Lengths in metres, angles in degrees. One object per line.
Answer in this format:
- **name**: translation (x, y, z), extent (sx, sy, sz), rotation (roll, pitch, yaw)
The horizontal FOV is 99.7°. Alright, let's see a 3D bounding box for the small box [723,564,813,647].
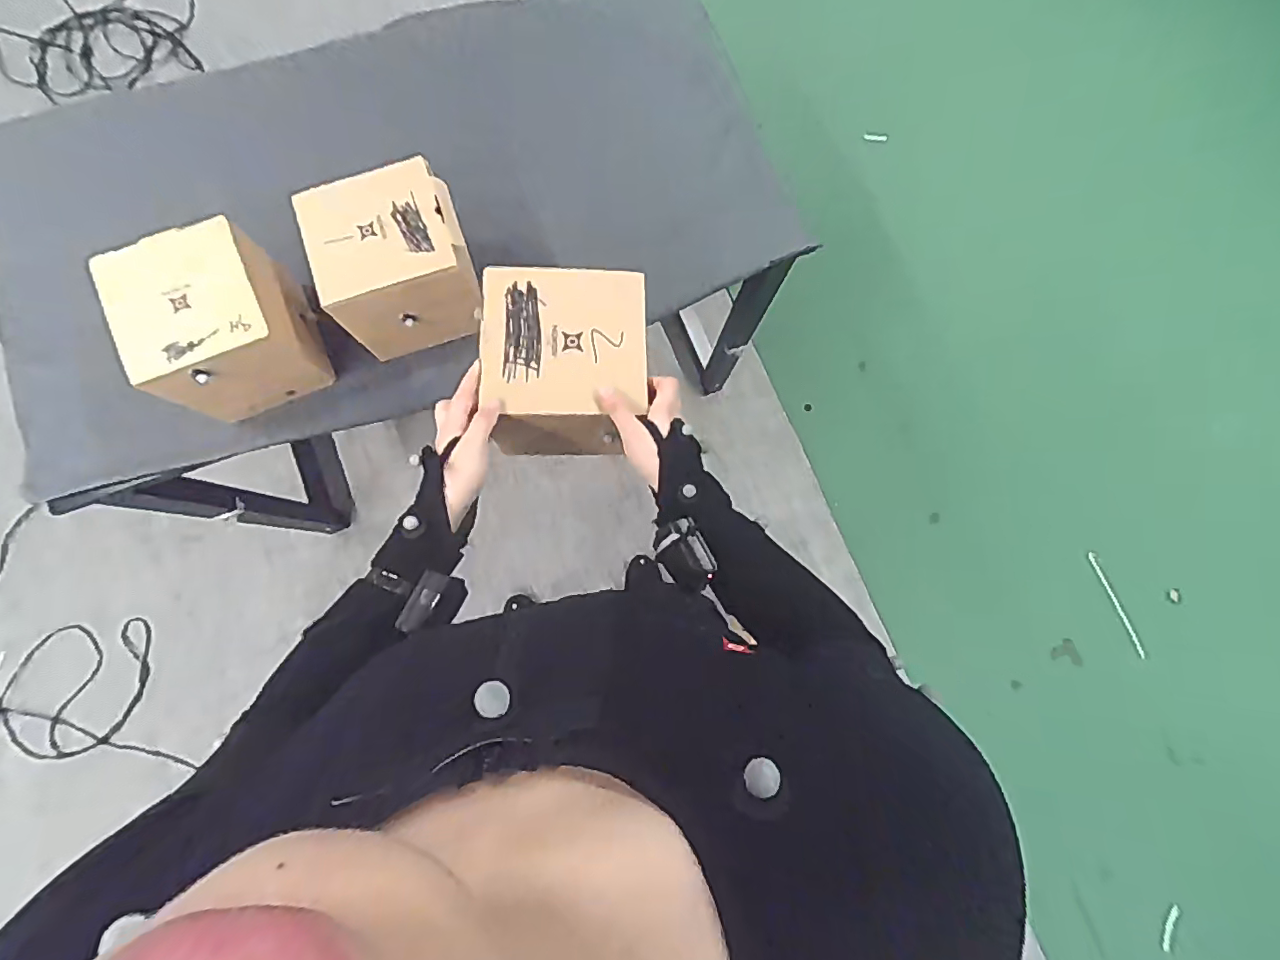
- **small box**: translation (0.328, 0.321, 1.417), extent (0.168, 0.176, 0.179), rotation (-13, 82, -5)

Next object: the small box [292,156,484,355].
- **small box**: translation (-0.330, -0.297, 0.747), extent (0.179, 0.176, 0.168), rotation (-19, 80, -3)

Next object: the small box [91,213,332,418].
- **small box**: translation (-0.553, -0.207, 0.722), extent (0.168, 0.176, 0.179), rotation (-23, 82, -5)
